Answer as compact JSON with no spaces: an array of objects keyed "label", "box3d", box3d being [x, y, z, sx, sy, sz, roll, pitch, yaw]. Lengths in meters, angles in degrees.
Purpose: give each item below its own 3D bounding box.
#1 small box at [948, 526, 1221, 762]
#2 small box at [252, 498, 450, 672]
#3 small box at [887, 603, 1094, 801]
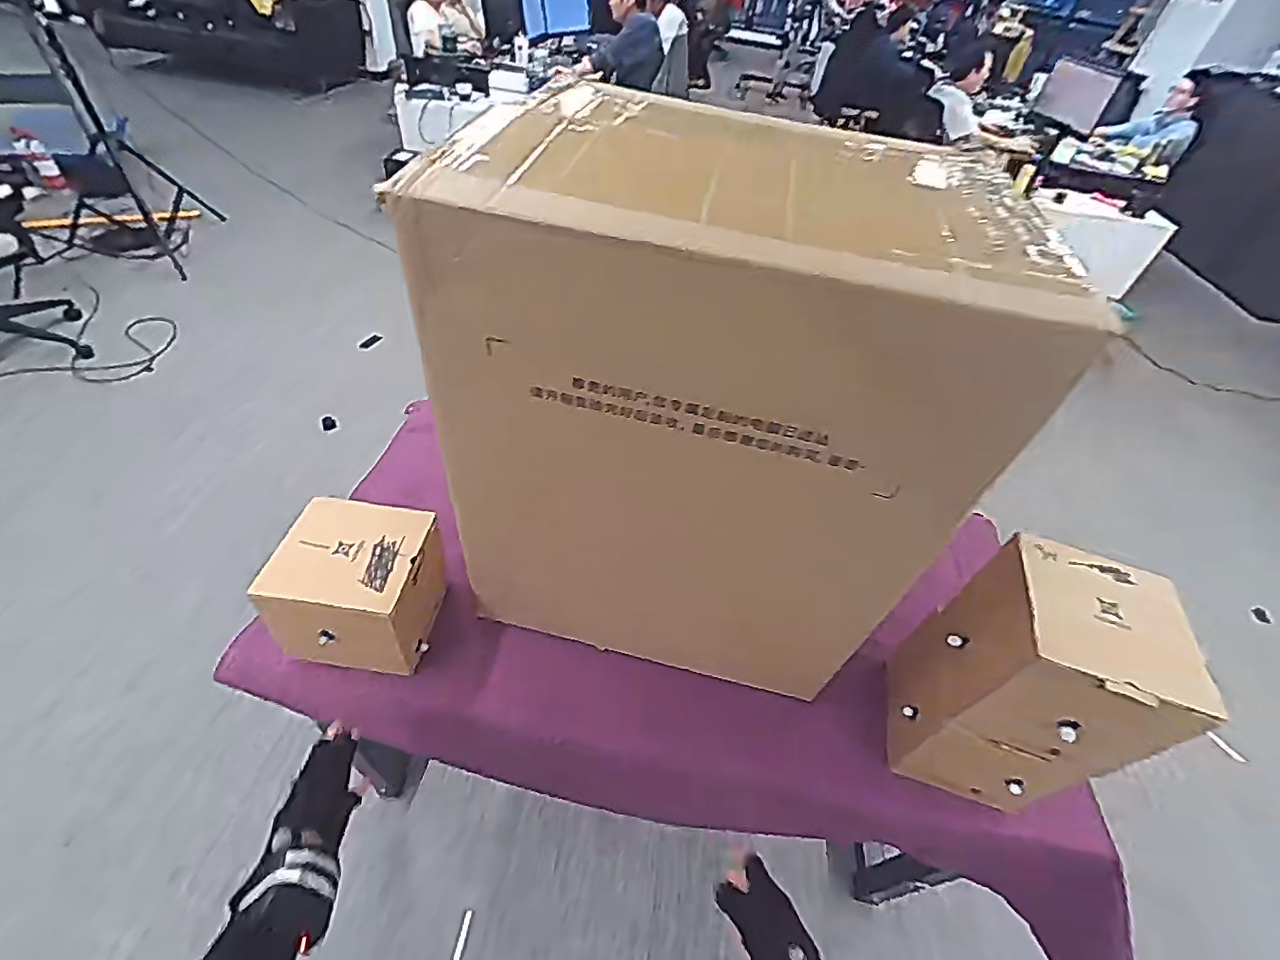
[{"label":"small box","box3d":[0.479,0.190,0.622,0.168,0.176,0.179,19,47,10]},{"label":"small box","box3d":[-0.382,0.151,0.759,0.179,0.176,0.168,8,44,-2]},{"label":"small box","box3d":[0.454,0.305,0.737,0.168,0.176,0.179,16,45,7]}]
